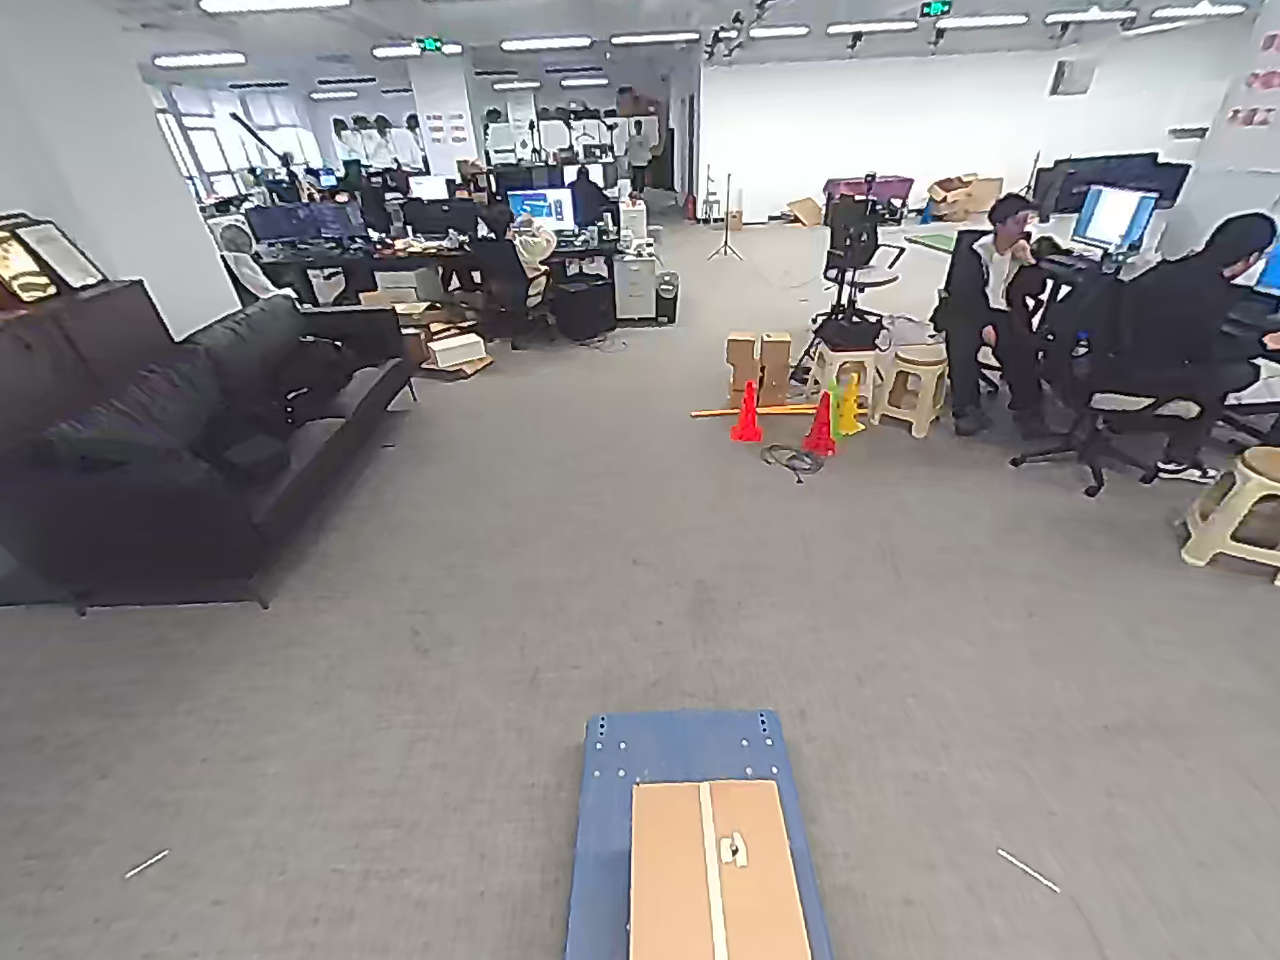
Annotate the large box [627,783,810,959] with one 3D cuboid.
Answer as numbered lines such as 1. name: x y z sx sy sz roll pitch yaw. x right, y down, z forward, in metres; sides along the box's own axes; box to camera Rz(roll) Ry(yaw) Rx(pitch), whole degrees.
1. large box: 0.142 0.898 1.085 0.320 0.320 0.408 -2 32 1
